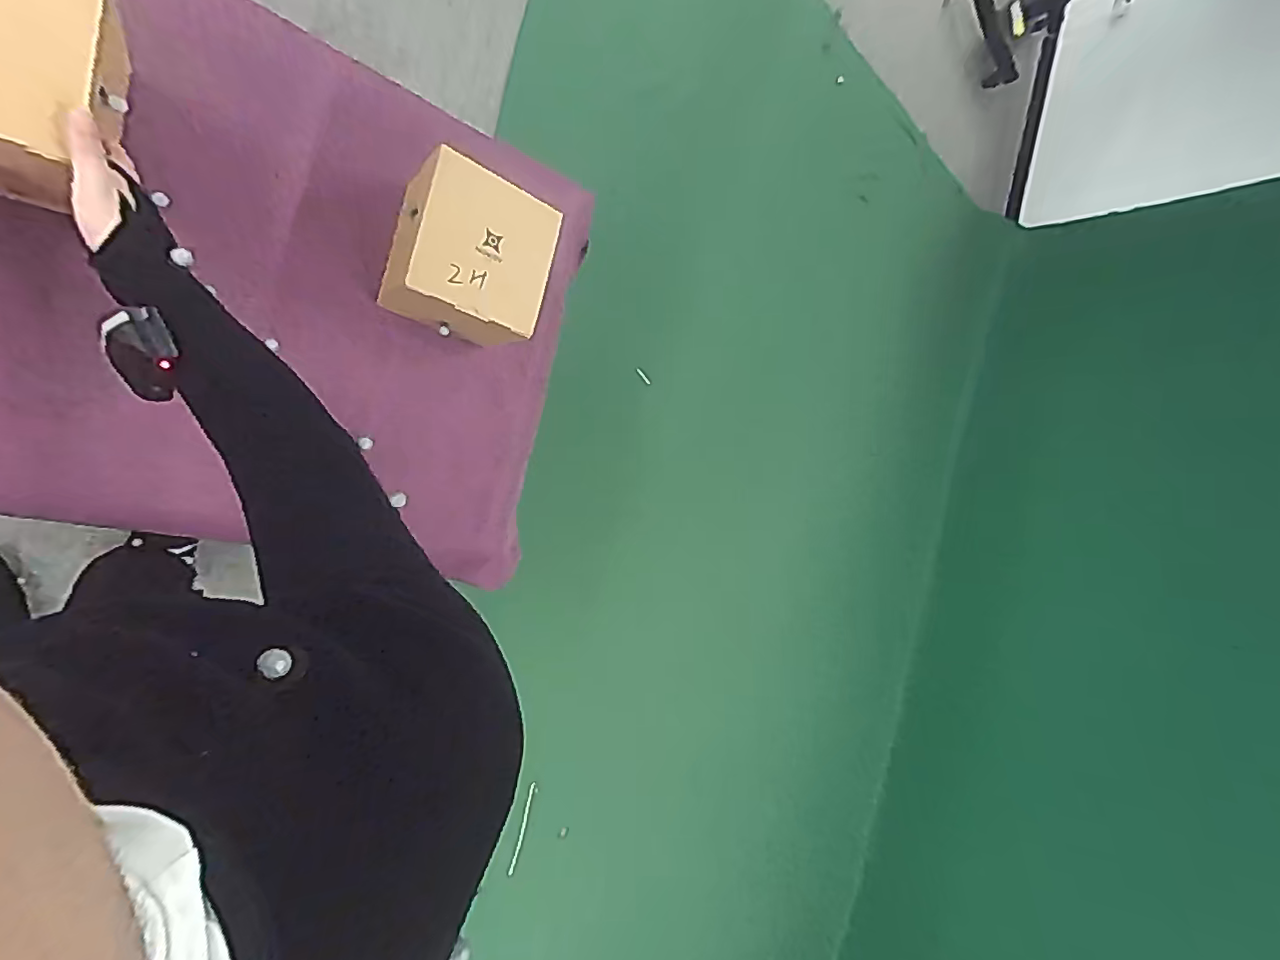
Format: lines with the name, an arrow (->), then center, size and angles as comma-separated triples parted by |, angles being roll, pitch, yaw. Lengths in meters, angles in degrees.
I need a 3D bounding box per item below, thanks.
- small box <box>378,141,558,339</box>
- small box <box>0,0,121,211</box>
small box -> -0.240, -0.306, 0.738 | 0.168, 0.176, 0.179 | 16, 89, -37
small box -> -0.569, -0.365, 0.461 | 0.168, 0.176, 0.179 | 7, 92, -40
